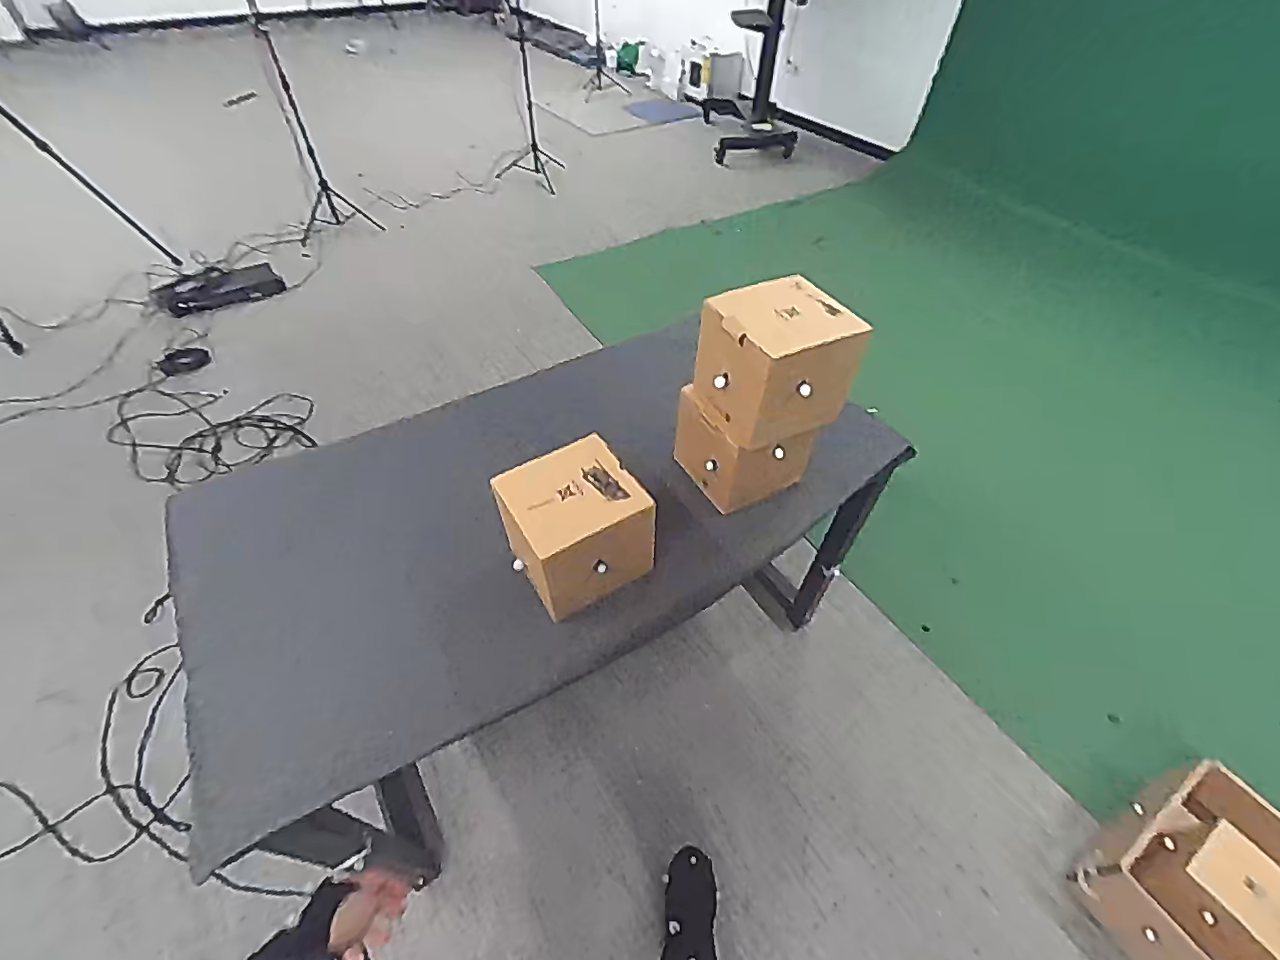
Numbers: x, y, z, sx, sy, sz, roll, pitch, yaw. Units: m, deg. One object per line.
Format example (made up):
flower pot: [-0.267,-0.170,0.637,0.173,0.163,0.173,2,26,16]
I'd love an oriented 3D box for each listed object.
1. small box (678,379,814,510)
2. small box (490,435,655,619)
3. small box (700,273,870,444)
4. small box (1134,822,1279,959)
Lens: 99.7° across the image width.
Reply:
small box: [0.177,-0.076,0.936,0.179,0.176,0.168,-22,53,-21]
small box: [-0.096,0.070,0.795,0.179,0.176,0.168,-26,53,-21]
small box: [0.201,-0.178,0.808,0.179,0.176,0.168,-20,52,-18]
small box: [1.161,0.829,1.080,0.168,0.176,0.179,-25,55,-21]
